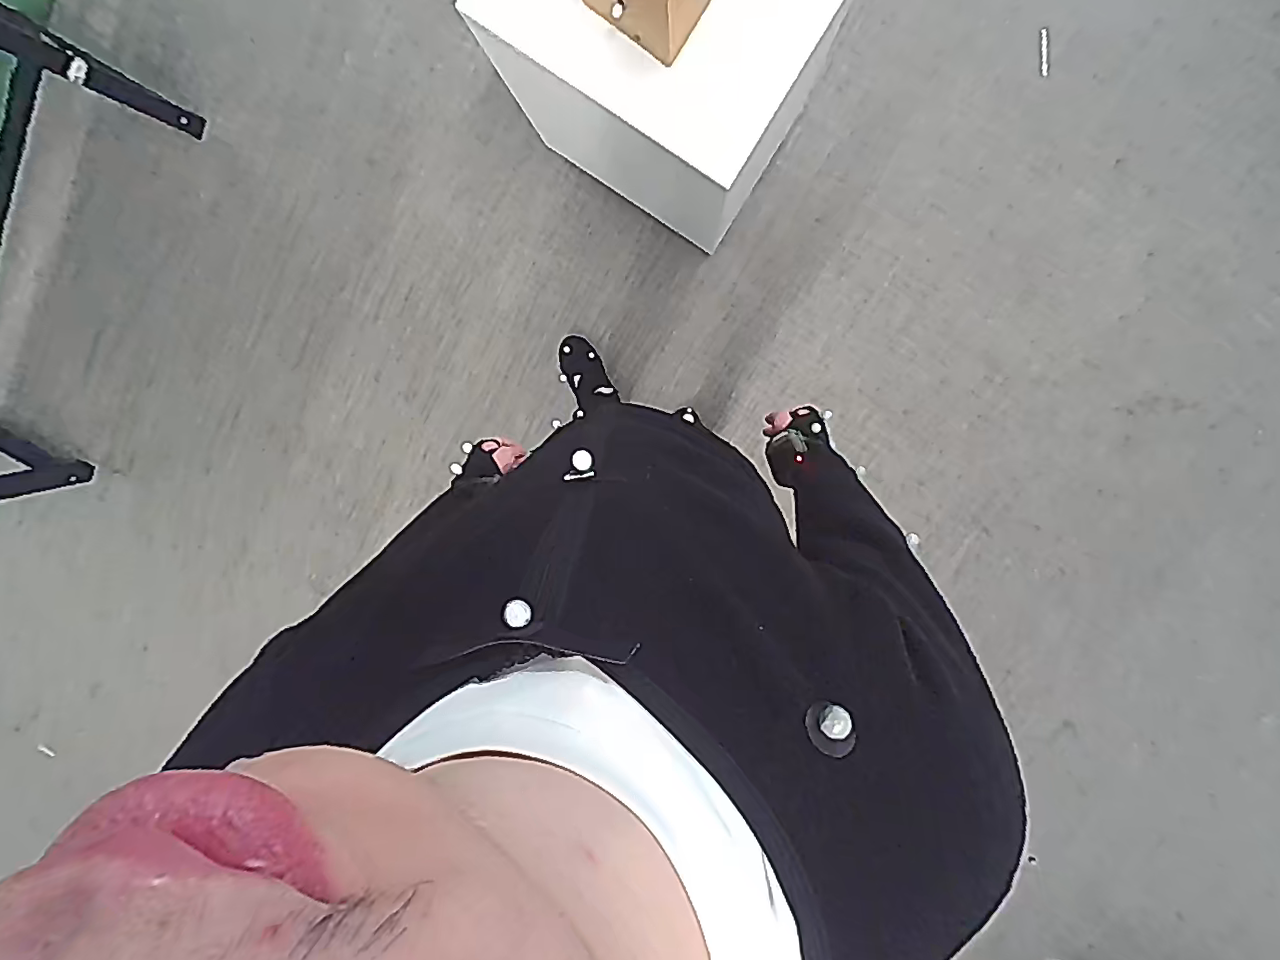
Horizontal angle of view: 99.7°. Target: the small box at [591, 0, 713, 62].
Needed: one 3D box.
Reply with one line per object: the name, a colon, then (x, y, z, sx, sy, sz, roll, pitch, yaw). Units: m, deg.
small box: (0.025, -0.728, 0.732, 0.168, 0.176, 0.179, 32, 102, -3)
